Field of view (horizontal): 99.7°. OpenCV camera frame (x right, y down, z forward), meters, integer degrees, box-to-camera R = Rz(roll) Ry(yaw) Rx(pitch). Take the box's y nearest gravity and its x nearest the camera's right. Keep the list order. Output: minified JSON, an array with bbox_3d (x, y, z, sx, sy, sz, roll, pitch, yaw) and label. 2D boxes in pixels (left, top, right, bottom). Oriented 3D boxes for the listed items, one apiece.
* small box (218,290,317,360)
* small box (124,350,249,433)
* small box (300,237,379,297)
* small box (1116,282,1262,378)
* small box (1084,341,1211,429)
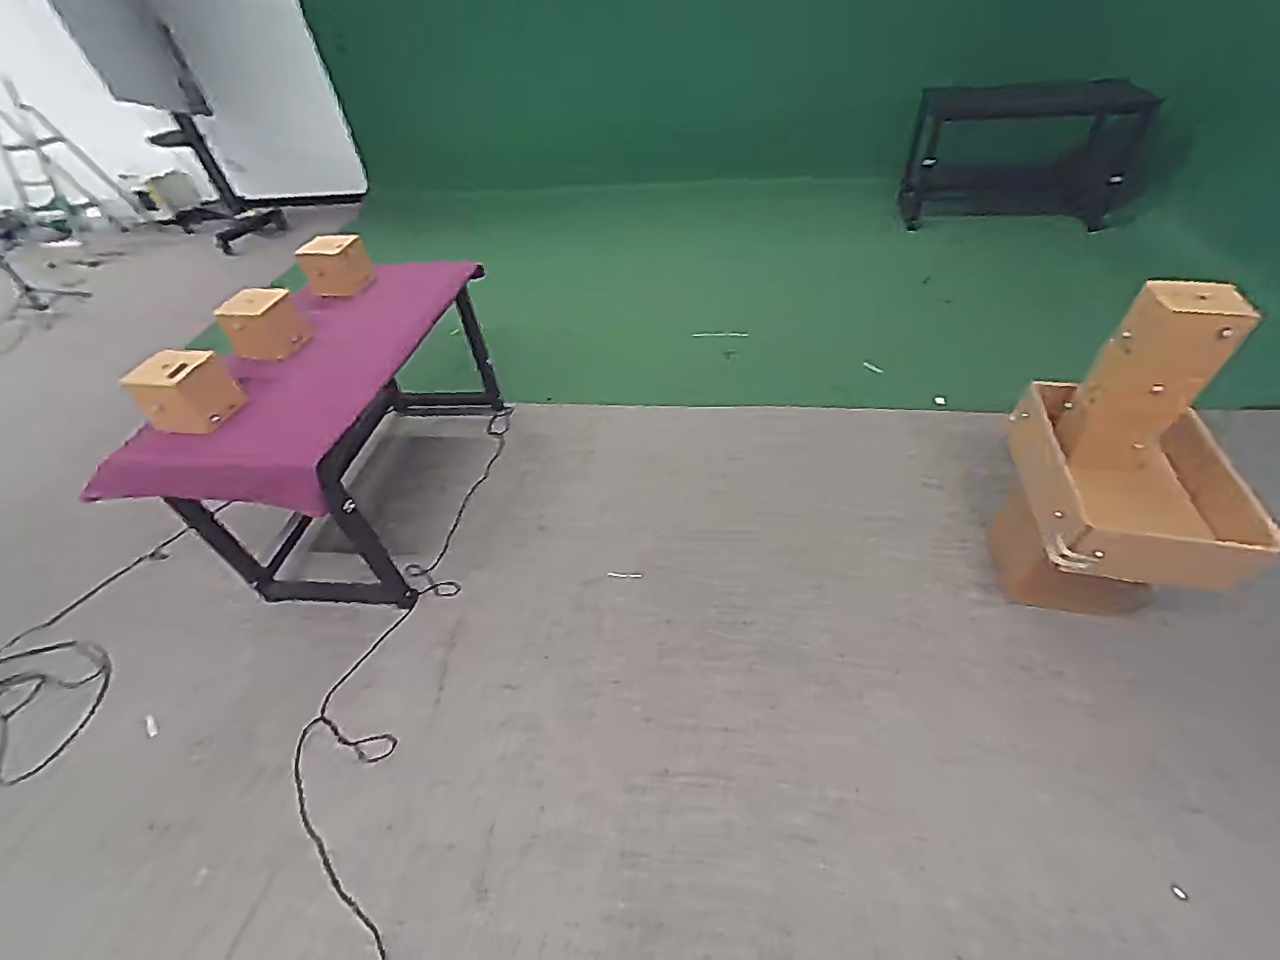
[{"bbox_3d":[-1.230,-0.514,1.799,0.179,0.176,0.168,5,47,10],"label":"small box"},{"bbox_3d":[-1.271,-0.249,1.534,0.179,0.176,0.168,4,45,9],"label":"small box"},{"bbox_3d":[-1.158,-0.825,2.098,0.179,0.176,0.168,3,47,9],"label":"small box"},{"bbox_3d":[1.357,-0.373,1.353,0.179,0.176,0.168,9,46,15],"label":"small box"},{"bbox_3d":[1.365,-0.256,1.470,0.179,0.176,0.168,9,47,15],"label":"small box"}]
